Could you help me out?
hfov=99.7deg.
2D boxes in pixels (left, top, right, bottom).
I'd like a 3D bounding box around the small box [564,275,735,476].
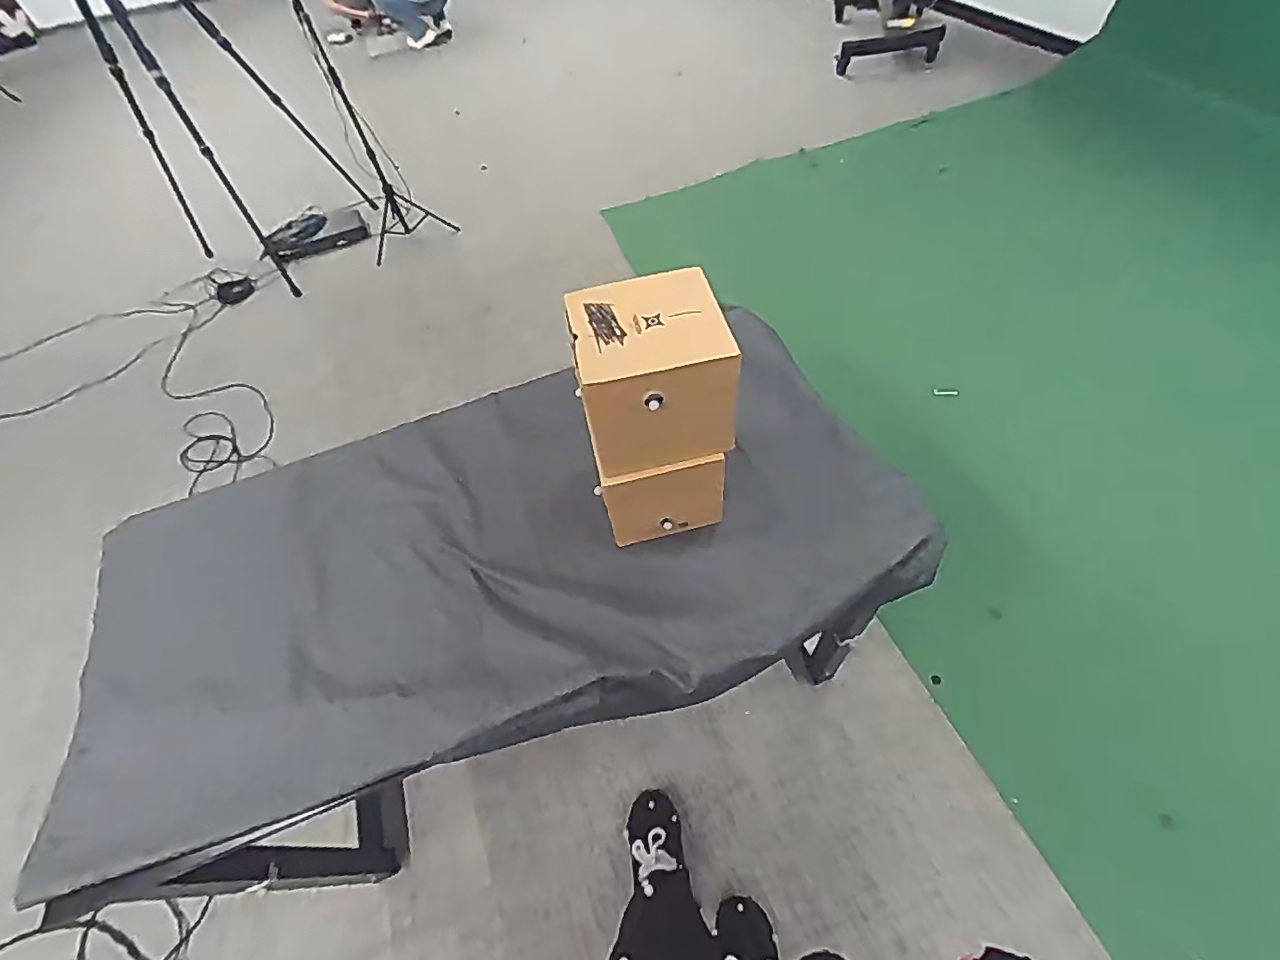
[{"bbox_3d":[0.014,-0.126,0.687,0.179,0.176,0.168,-13,55,-2],"label":"small box"}]
